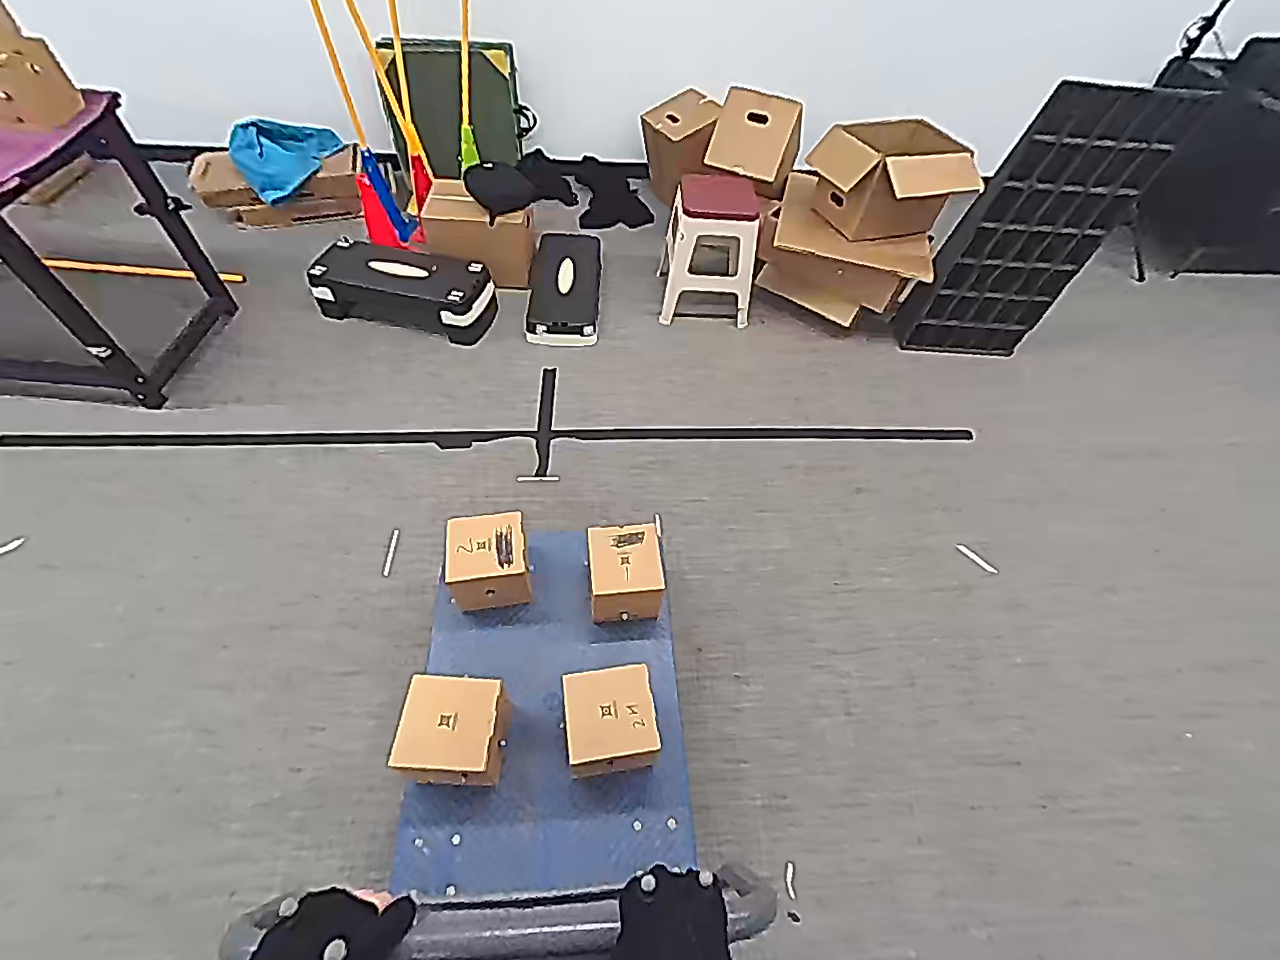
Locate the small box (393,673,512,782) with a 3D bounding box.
[{"bbox_3d":[-0.366,0.503,1.091,0.179,0.176,0.168,5,53,-3],"label":"small box"}]

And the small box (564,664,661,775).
[{"bbox_3d":[-0.061,0.499,1.121,0.179,0.176,0.168,-5,54,-8],"label":"small box"}]

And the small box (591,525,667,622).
[{"bbox_3d":[-0.034,0.229,1.322,0.168,0.176,0.179,-3,55,-7],"label":"small box"}]
